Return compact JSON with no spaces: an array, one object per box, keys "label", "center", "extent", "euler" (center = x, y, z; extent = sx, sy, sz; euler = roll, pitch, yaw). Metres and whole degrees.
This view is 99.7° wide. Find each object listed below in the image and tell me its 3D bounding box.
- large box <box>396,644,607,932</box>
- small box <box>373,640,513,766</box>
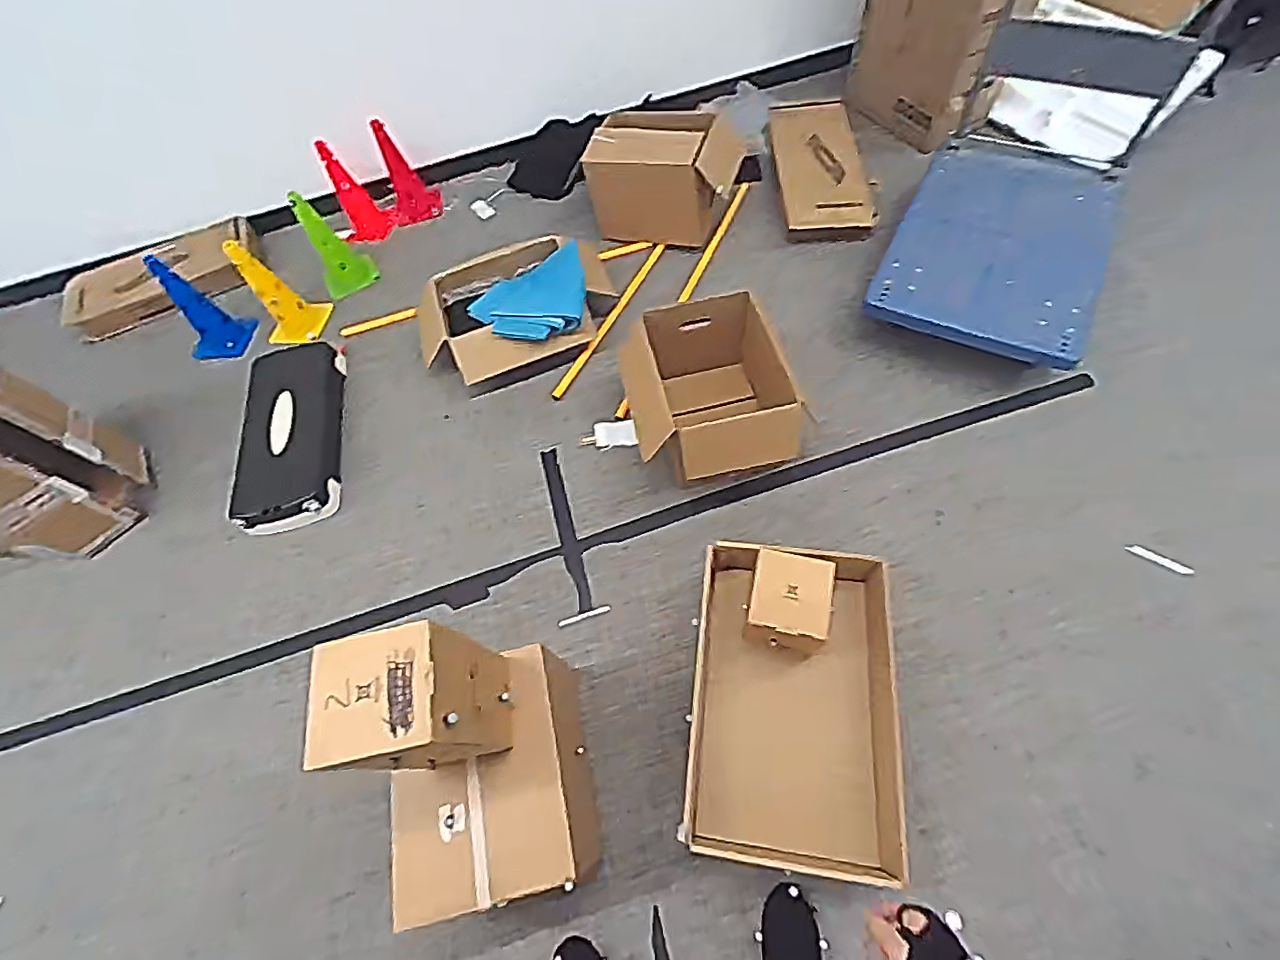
[{"label":"large box","center":[-0.278,0.601,1.113],"extent":[0.320,0.320,0.408],"euler":[-17,62,-1]},{"label":"small box","center":[-0.339,0.397,0.949],"extent":[0.179,0.176,0.168],"euler":[-13,63,0]}]
